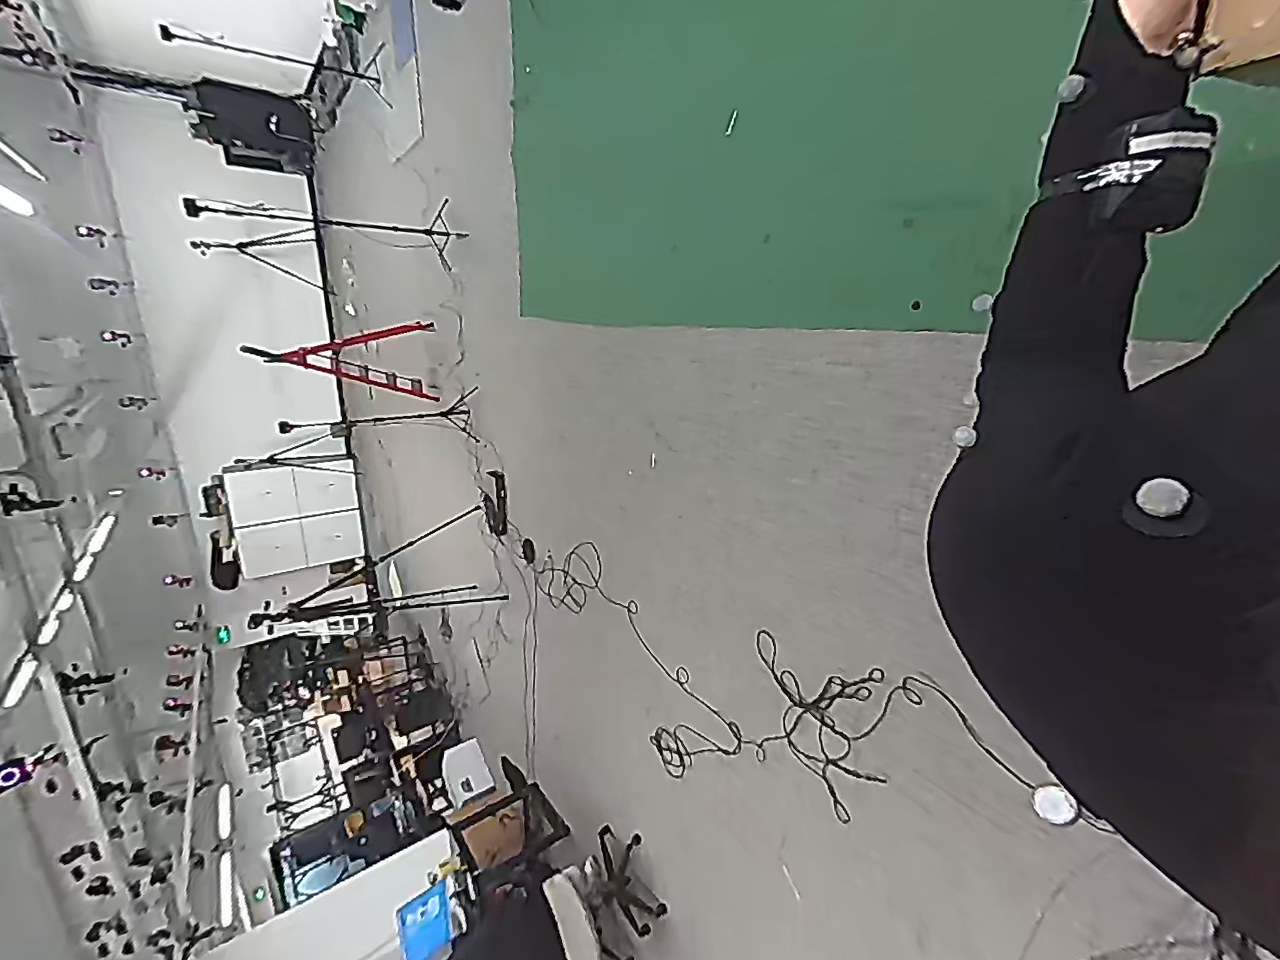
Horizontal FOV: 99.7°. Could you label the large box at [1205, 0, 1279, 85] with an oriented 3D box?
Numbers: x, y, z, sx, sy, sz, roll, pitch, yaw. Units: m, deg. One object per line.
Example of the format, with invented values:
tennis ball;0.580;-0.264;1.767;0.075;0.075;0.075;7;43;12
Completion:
large box;0.586;-0.419;0.226;0.408;0.320;0.320;19;125;53
